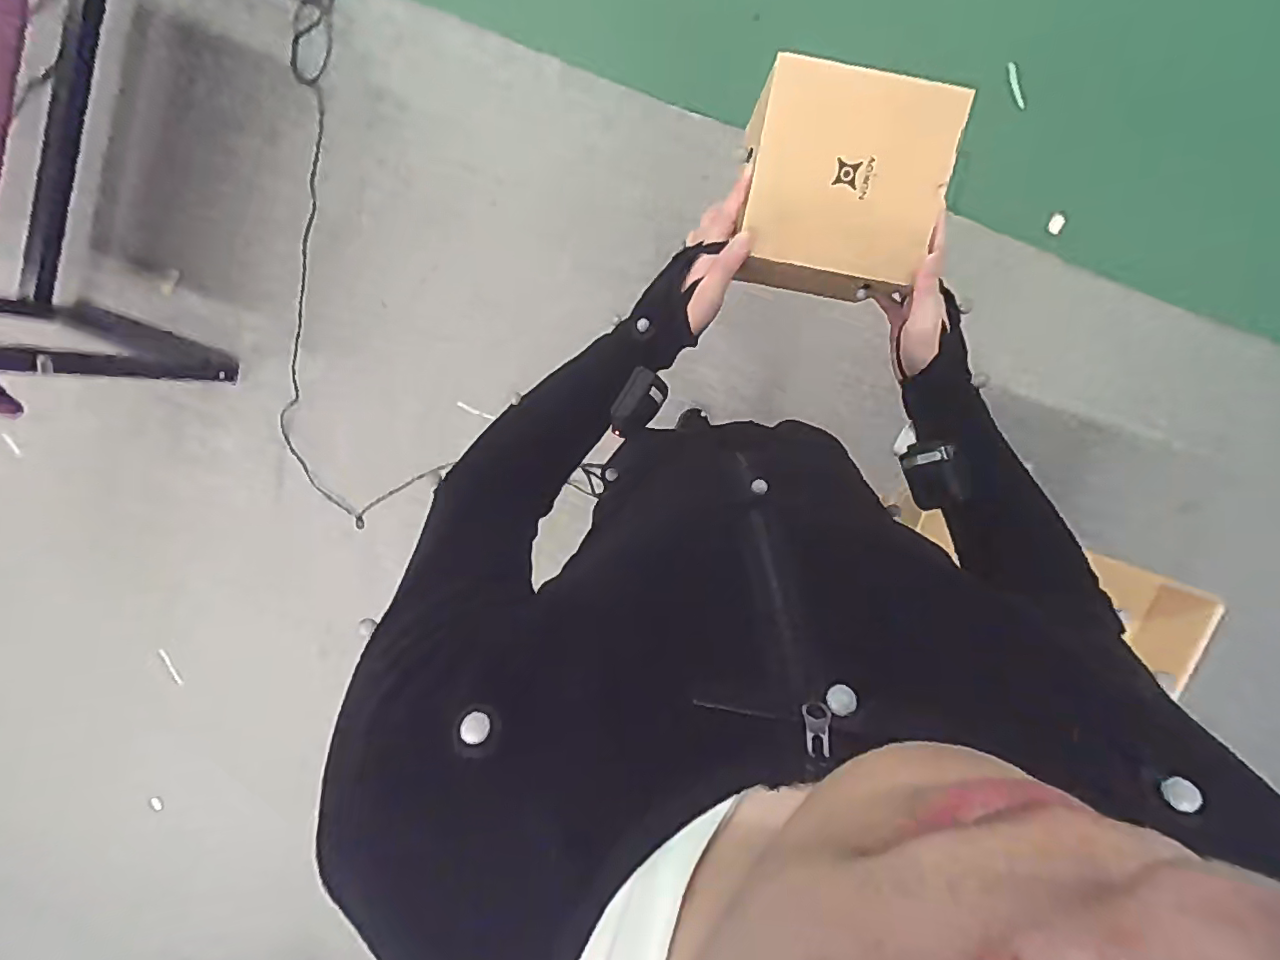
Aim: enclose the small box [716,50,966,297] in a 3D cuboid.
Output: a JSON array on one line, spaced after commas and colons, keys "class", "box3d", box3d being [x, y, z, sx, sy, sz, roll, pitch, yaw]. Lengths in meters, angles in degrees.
[{"class": "small box", "box3d": [0.182, -0.290, 0.554, 0.179, 0.176, 0.168, 9, 103, -2]}]
